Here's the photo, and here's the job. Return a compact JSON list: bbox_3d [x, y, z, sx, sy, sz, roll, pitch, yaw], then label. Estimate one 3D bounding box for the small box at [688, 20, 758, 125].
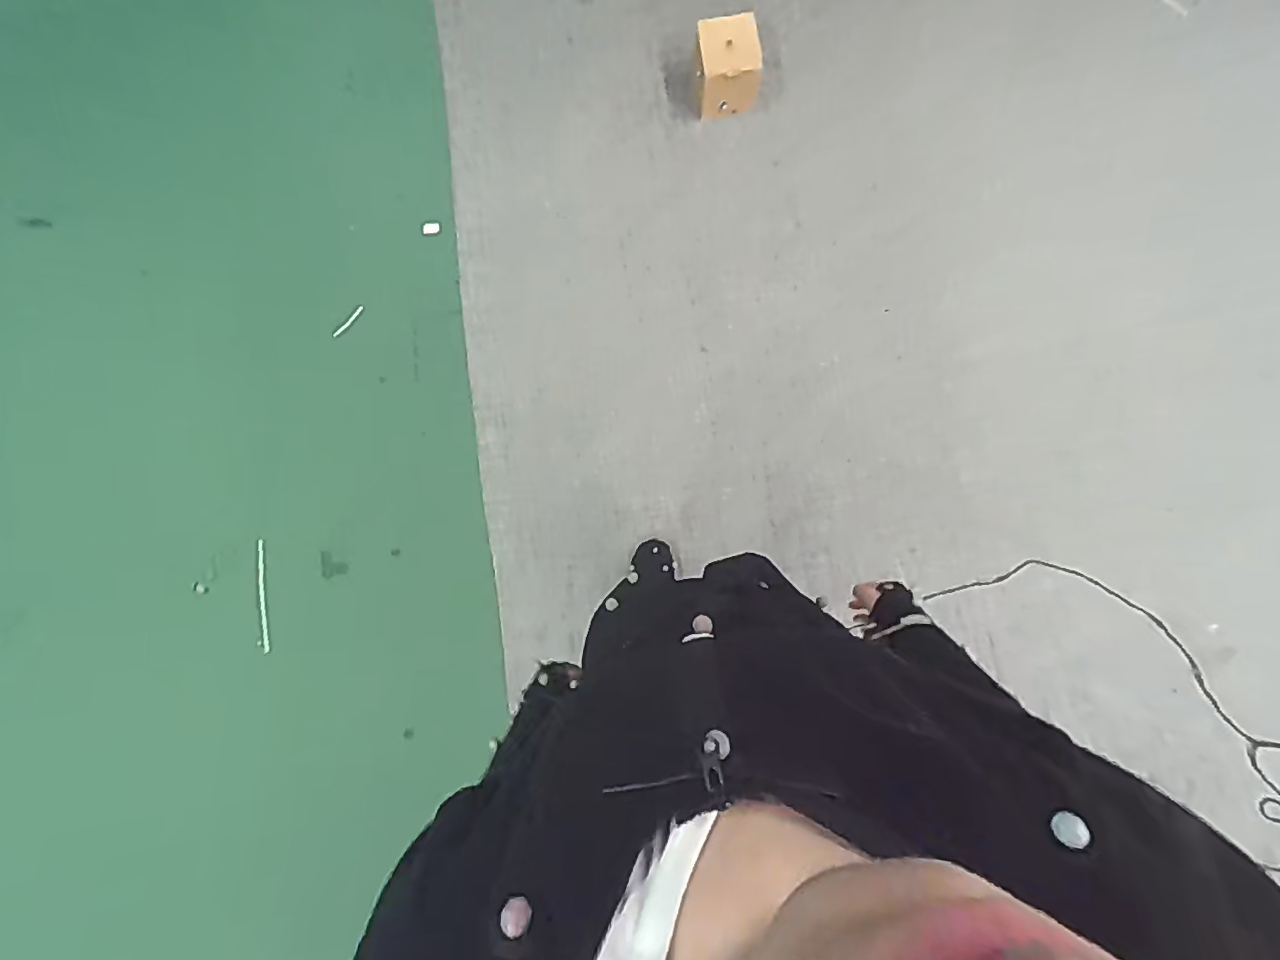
[{"bbox_3d":[0.238,-1.198,1.597,0.168,0.176,0.179,-8,84,-1],"label":"small box"}]
